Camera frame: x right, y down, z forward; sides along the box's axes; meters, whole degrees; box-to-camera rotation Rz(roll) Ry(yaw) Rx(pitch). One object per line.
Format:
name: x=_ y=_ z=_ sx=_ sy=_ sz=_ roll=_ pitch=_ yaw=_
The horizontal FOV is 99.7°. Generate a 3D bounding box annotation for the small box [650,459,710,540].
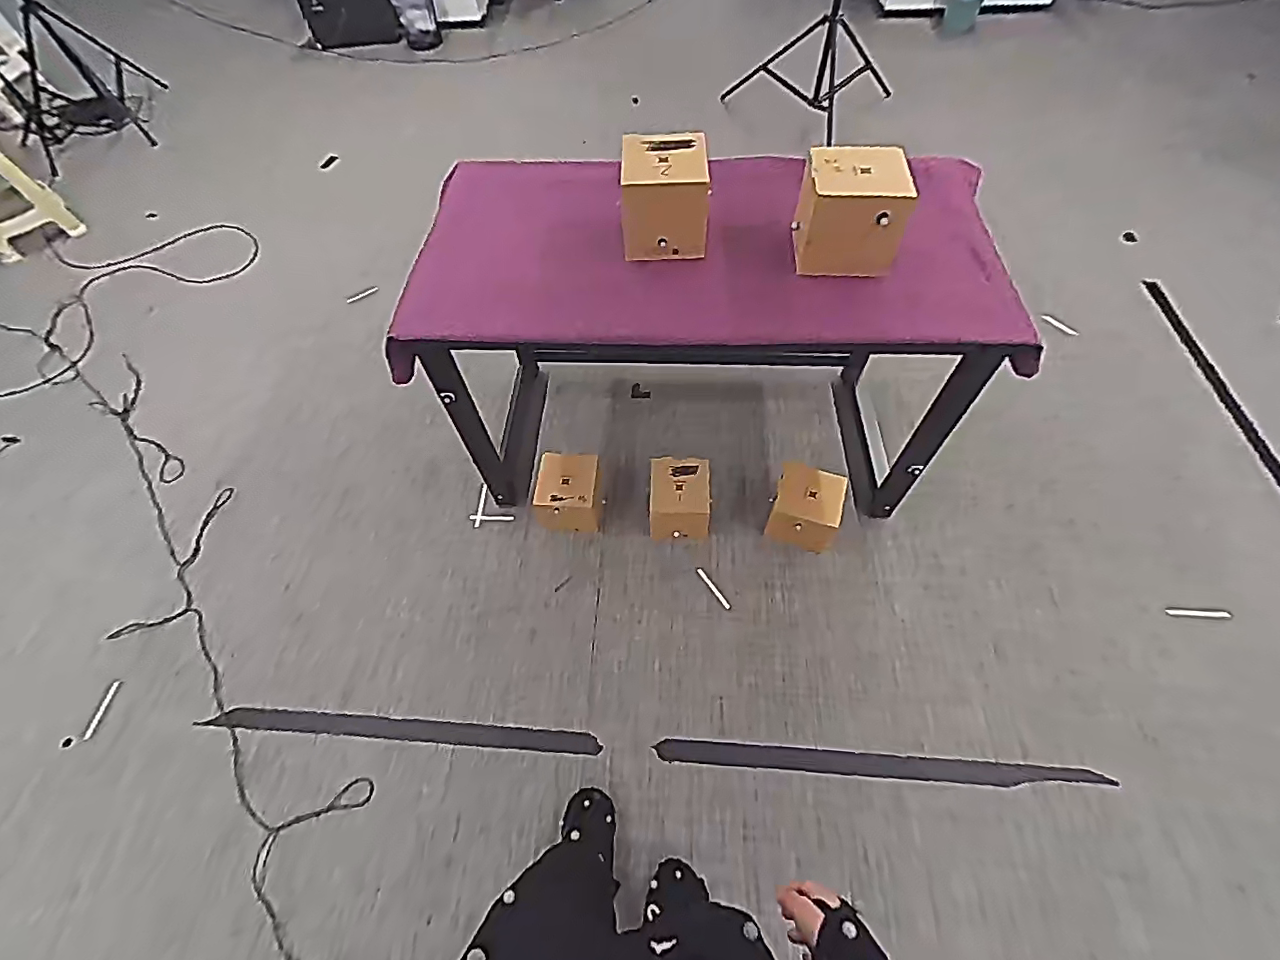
small box: x=0.114 y=0.057 z=1.568 sx=0.168 sy=0.176 sz=0.179 roll=1 pitch=59 yaw=3

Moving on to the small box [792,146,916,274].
small box: x=0.405 y=-0.521 z=1.054 sx=0.179 sy=0.176 sz=0.168 roll=3 pitch=57 yaw=5

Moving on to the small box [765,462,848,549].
small box: x=0.469 y=0.079 z=1.539 sx=0.179 sy=0.176 sz=0.168 roll=15 pitch=61 yaw=14

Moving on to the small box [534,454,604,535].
small box: x=-0.202 y=0.043 z=1.593 sx=0.168 sy=0.176 sz=0.179 roll=3 pitch=57 yaw=5
